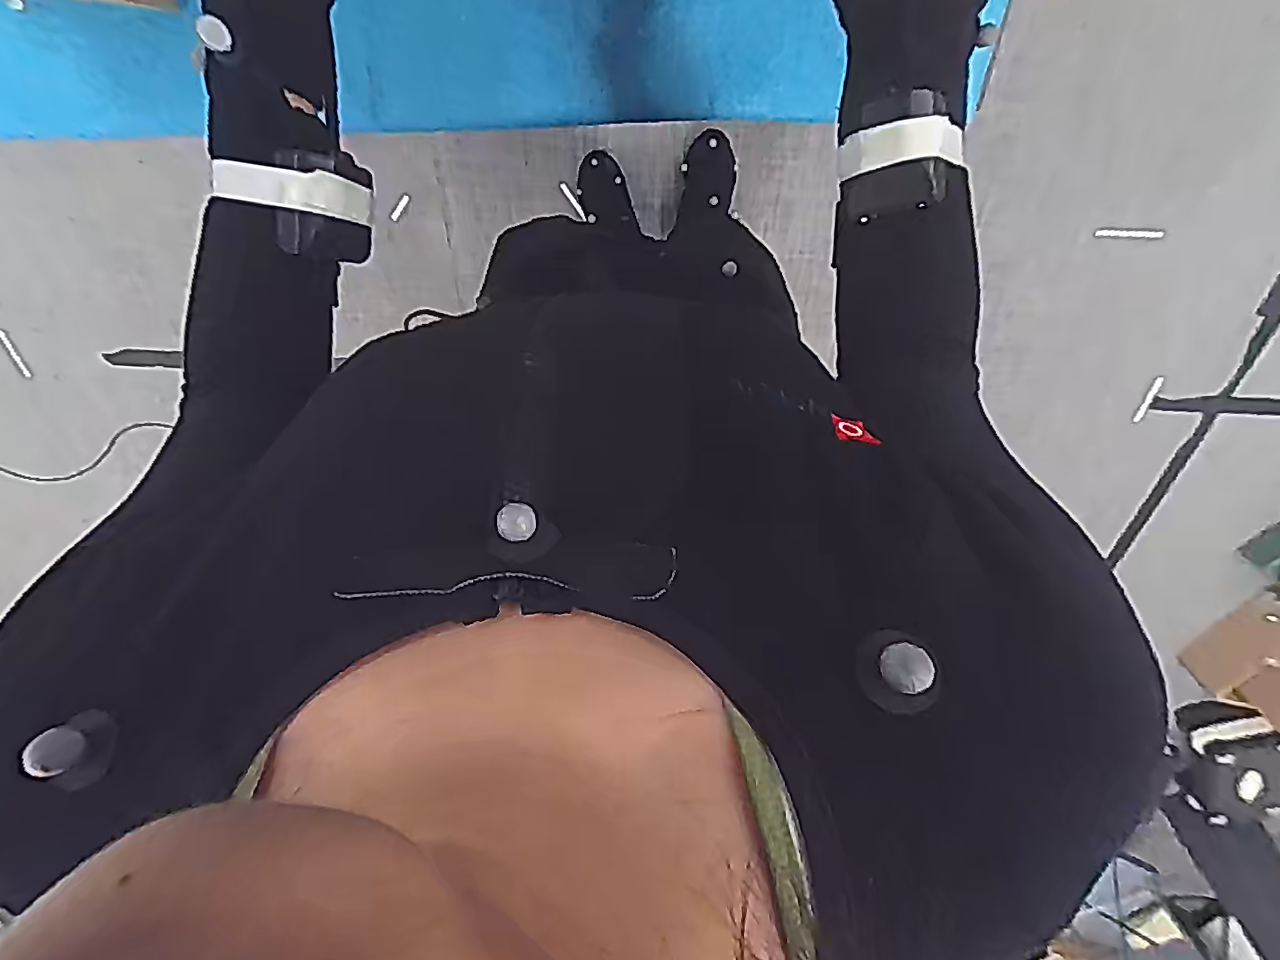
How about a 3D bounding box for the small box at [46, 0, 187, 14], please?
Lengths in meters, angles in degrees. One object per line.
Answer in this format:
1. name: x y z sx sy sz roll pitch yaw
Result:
1. small box: -0.501 -0.473 0.394 0.168 0.176 0.179 5 125 -2
